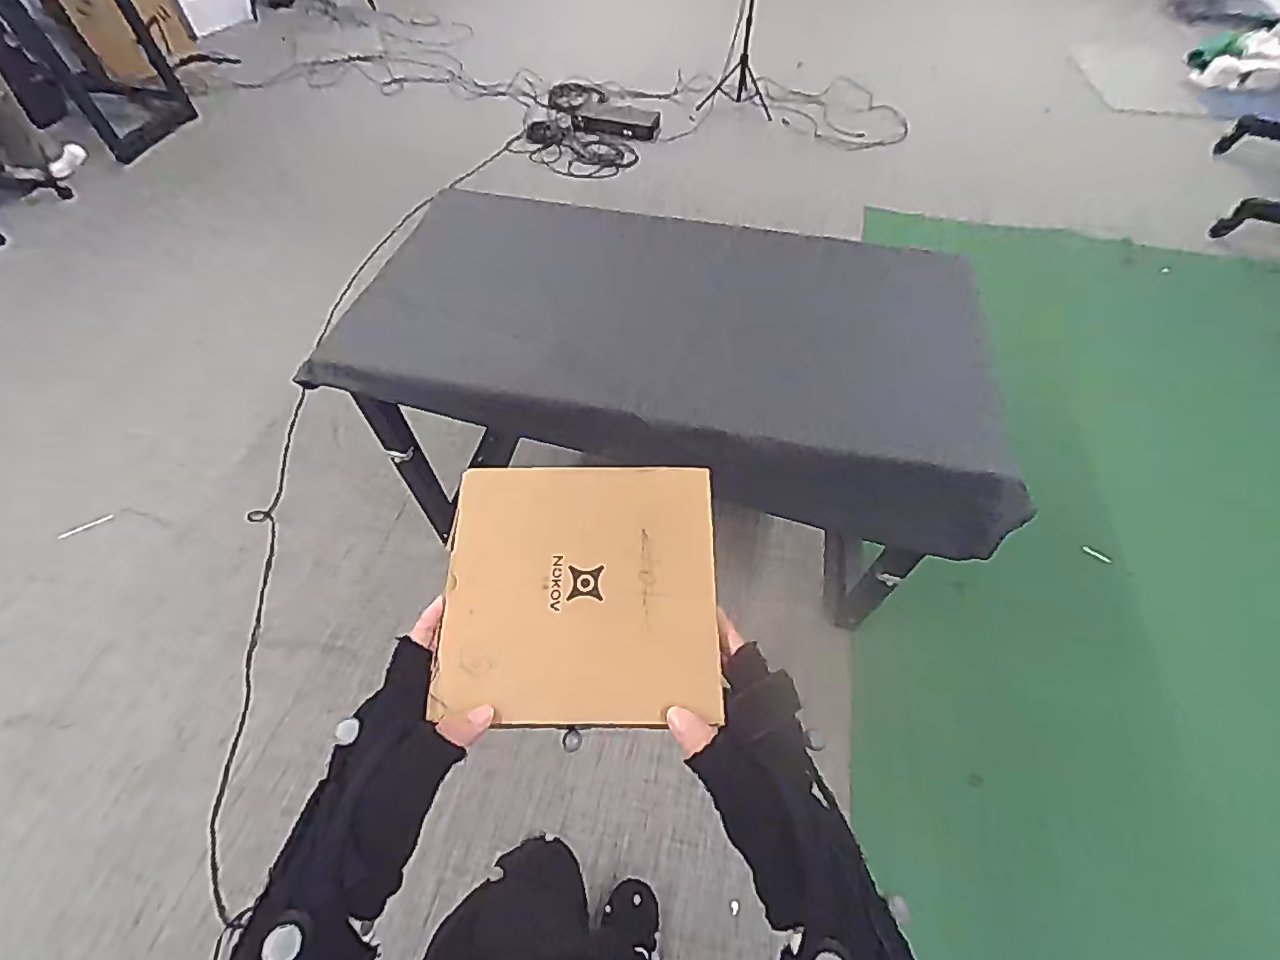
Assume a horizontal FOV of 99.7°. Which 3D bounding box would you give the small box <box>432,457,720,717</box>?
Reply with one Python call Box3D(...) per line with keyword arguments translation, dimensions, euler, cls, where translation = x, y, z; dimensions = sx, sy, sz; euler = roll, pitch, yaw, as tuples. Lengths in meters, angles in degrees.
Box3D(translation=(-0.037, 0.094, 0.425), dimensions=(0.179, 0.176, 0.168), euler=(-2, 66, 1), cls="small box")
